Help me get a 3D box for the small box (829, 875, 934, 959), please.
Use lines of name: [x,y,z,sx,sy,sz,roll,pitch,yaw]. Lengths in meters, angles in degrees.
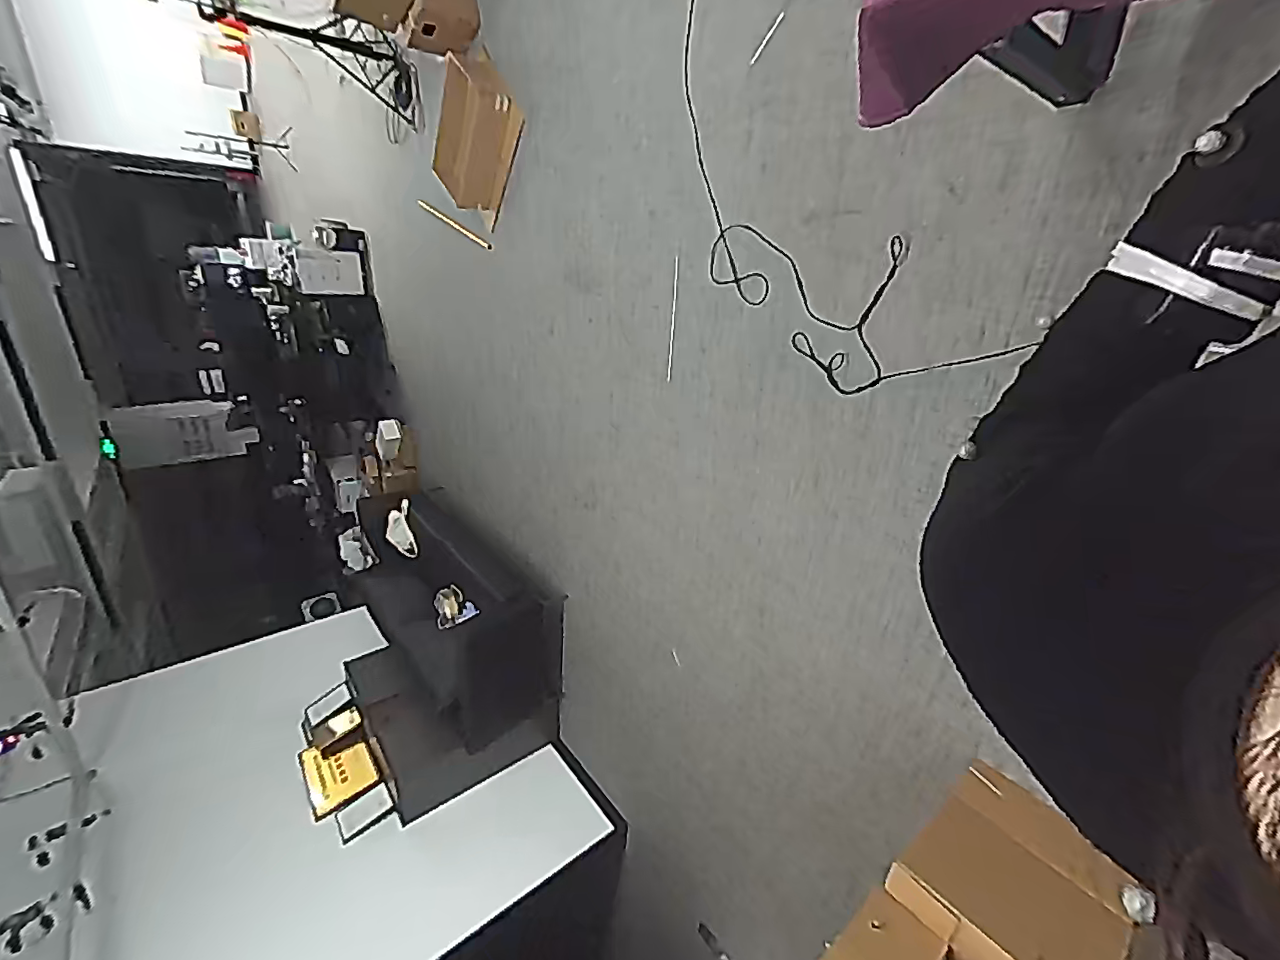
small box: [0.568,1.104,1.299,0.179,0.176,0.168,25,122,42]
